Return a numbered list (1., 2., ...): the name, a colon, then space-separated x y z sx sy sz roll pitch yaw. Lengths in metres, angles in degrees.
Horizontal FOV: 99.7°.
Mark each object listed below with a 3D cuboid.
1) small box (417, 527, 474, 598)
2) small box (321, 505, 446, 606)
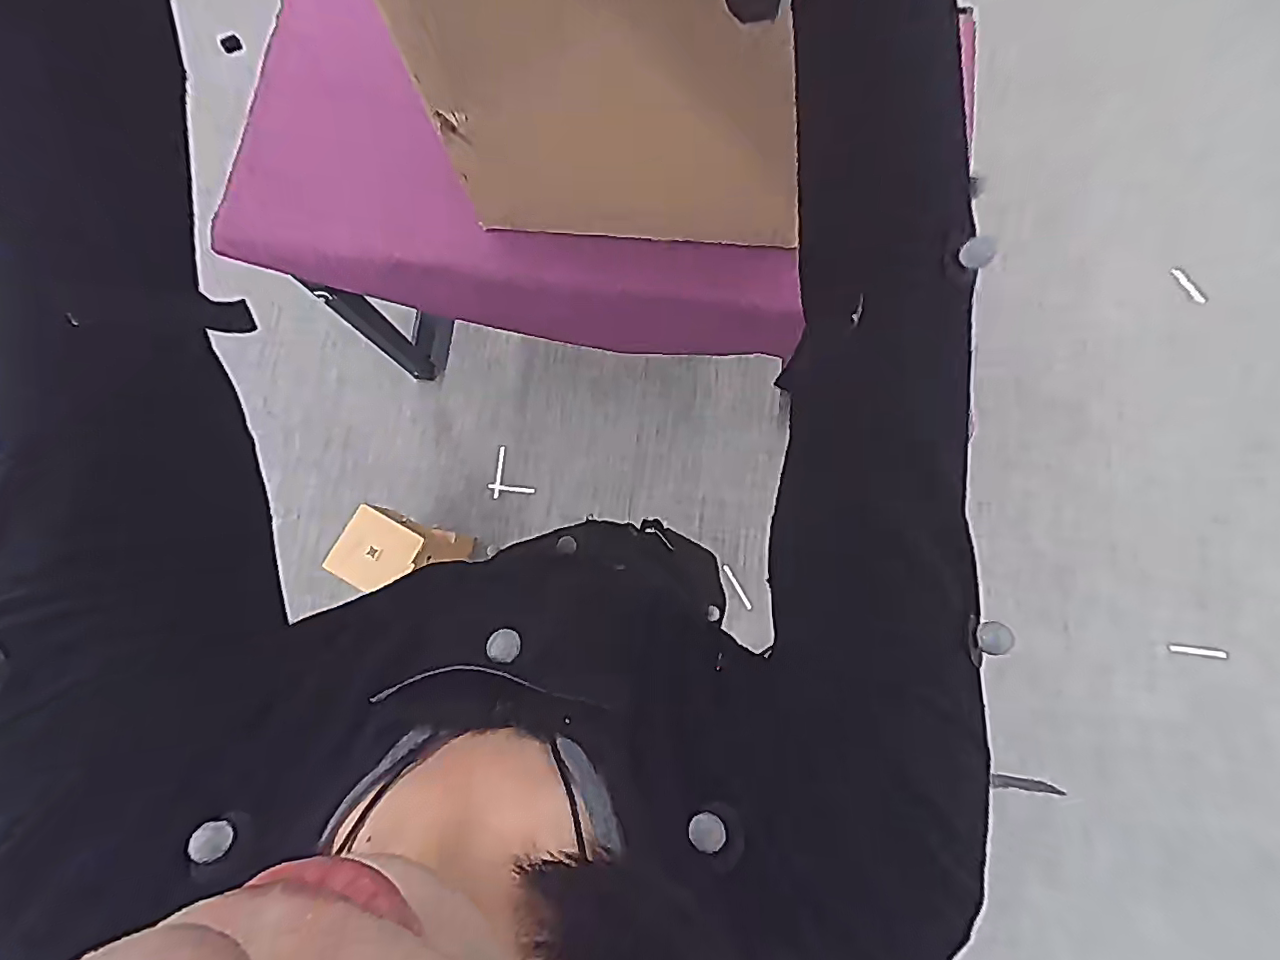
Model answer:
1. small box: -0.563 0.214 1.432 0.179 0.176 0.168 9 81 1
2. small box: -0.591 0.177 1.273 0.179 0.176 0.168 28 81 5
